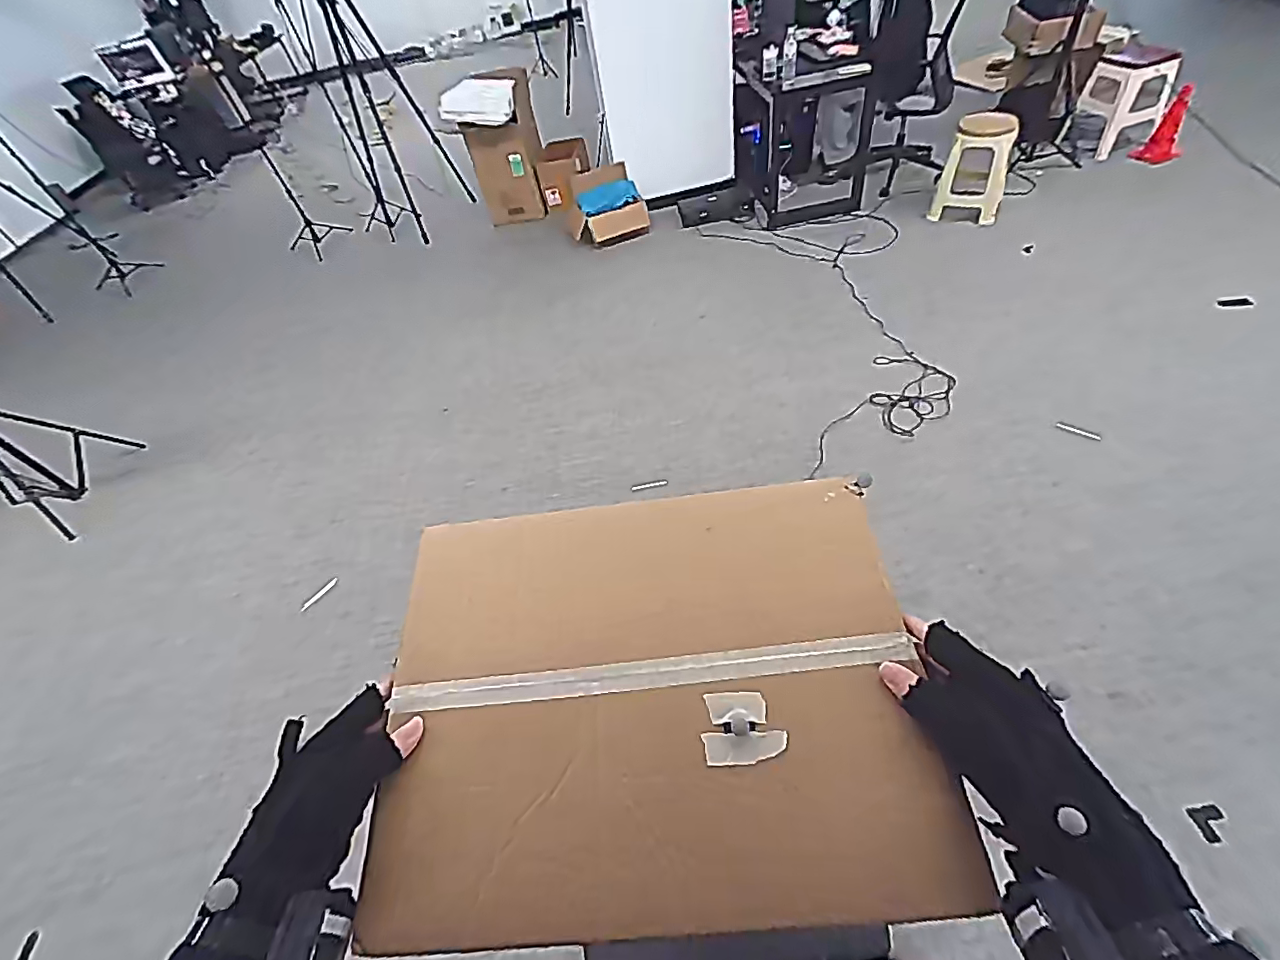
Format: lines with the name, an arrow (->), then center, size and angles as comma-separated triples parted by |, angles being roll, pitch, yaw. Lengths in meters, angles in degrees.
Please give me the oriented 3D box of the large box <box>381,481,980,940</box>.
large box -> 0.026, 0.235, 0.555 | 0.408, 0.320, 0.320 | -7, 57, 4
